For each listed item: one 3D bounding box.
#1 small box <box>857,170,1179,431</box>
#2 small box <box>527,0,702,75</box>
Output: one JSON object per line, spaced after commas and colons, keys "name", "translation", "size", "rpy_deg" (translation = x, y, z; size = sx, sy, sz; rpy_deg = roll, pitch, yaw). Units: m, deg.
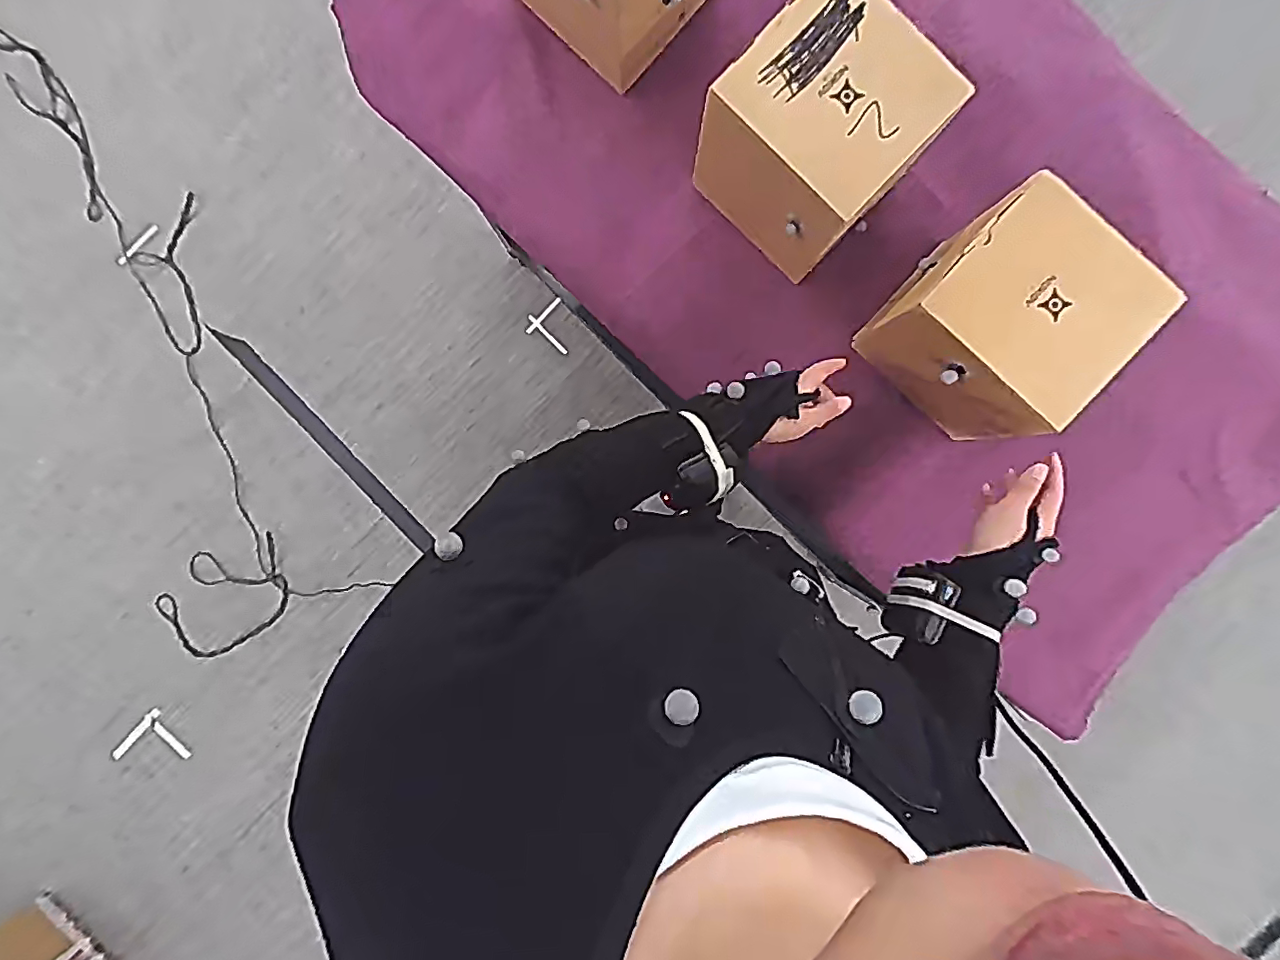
{"name": "small box", "translation": [0.369, -0.166, 0.566], "size": [0.179, 0.176, 0.168], "rpy_deg": [43, 92, 1]}
{"name": "small box", "translation": [-0.028, -0.574, 0.559], "size": [0.179, 0.176, 0.168], "rpy_deg": [42, 91, -3]}
